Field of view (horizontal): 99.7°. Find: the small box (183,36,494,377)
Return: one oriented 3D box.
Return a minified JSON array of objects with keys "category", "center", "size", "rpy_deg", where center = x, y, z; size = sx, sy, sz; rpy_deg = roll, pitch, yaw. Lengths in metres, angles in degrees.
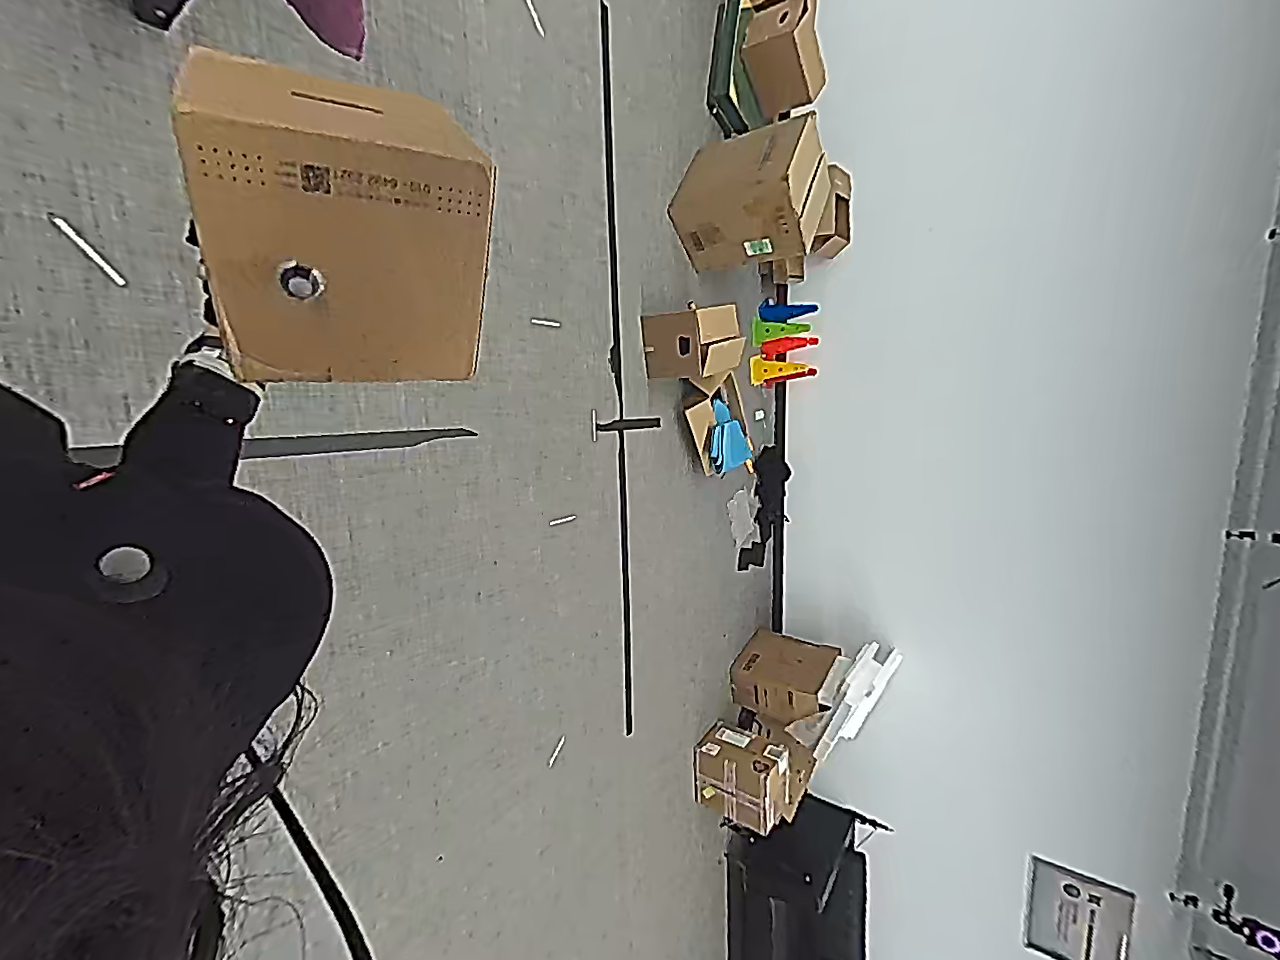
[{"category":"small box","center":[-0.215,-0.194,0.400],"size":[0.168,0.179,0.176],"rpy_deg":[-6,135,-32]}]
